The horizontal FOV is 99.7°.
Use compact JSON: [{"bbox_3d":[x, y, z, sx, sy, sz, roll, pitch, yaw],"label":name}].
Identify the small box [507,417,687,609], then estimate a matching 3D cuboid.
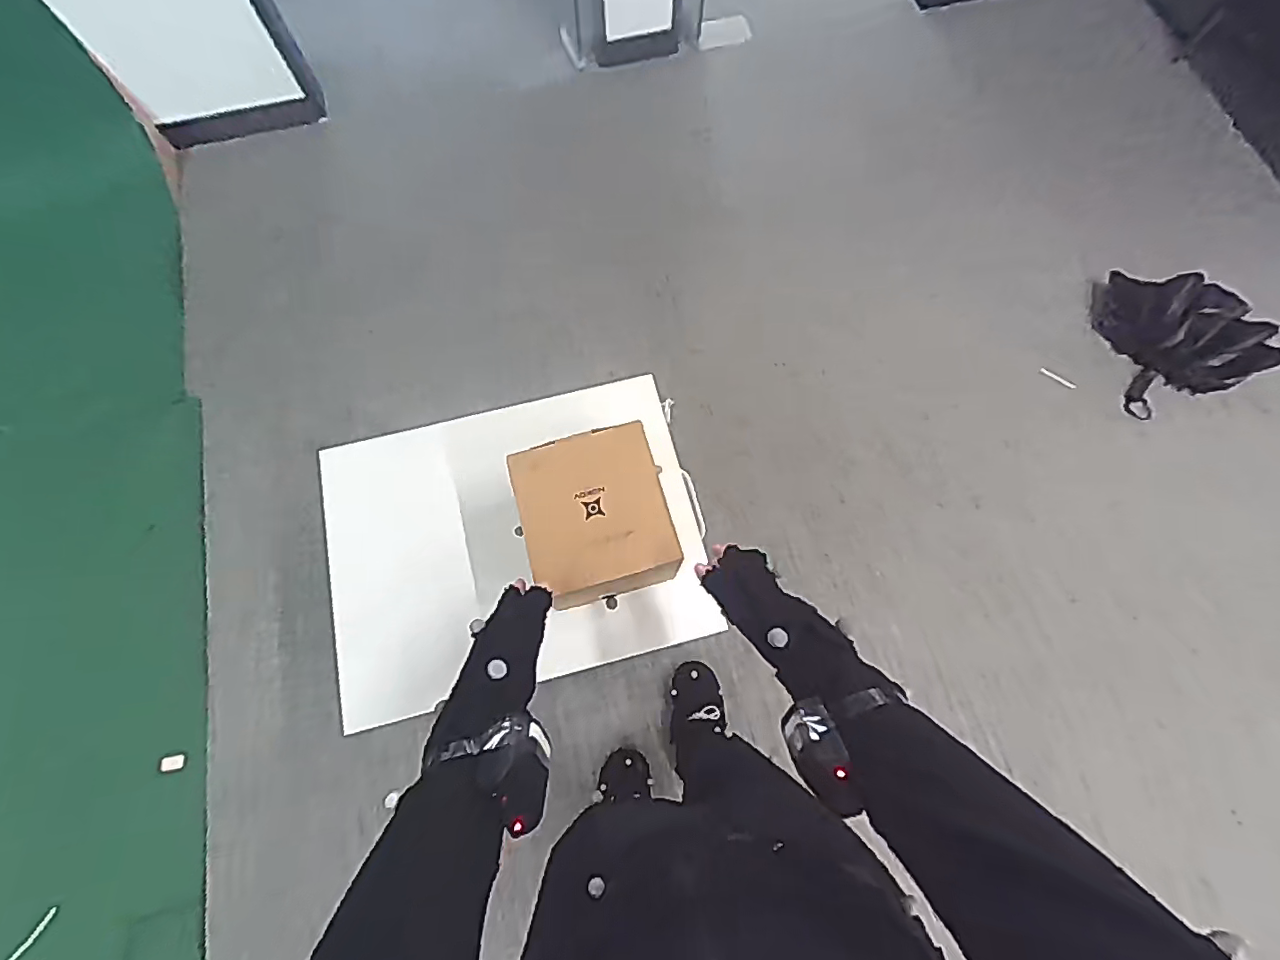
[{"bbox_3d":[-0.050,0.050,0.670,0.168,0.176,0.179,-17,74,-4],"label":"small box"}]
